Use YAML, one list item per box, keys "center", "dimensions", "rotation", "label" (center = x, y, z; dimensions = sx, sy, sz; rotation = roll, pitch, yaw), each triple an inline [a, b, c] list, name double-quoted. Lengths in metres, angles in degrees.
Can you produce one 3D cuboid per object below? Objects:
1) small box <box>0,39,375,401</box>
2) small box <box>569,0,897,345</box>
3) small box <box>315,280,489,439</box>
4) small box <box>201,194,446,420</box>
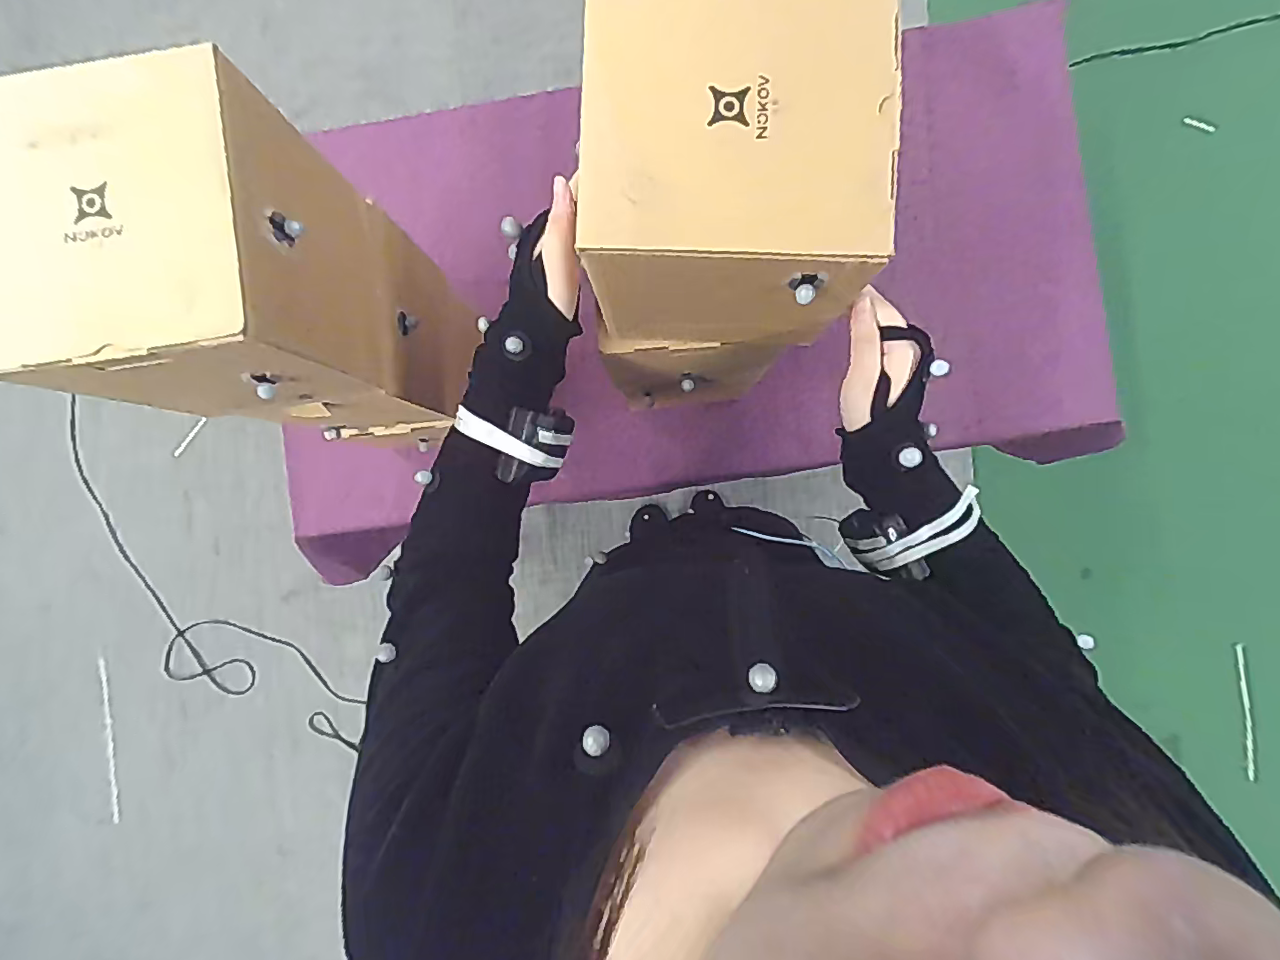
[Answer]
- center: [-0.313, -0.157, 0.389]
  dimensions: [0.168, 0.176, 0.179]
  rotation: [-6, 88, 1]
  label: "small box"
- center: [0.054, -0.200, 0.380]
  dimensions: [0.179, 0.176, 0.168]
  rotation: [3, 89, 1]
  label: "small box"
- center: [-0.308, -0.147, 0.717]
  dimensions: [0.168, 0.176, 0.179]
  rotation: [-5, 90, 0]
  label: "small box"
- center: [-0.310, -0.157, 0.552]
  dimensions: [0.168, 0.176, 0.179]
  rotation: [-4, 88, 1]
  label: "small box"
